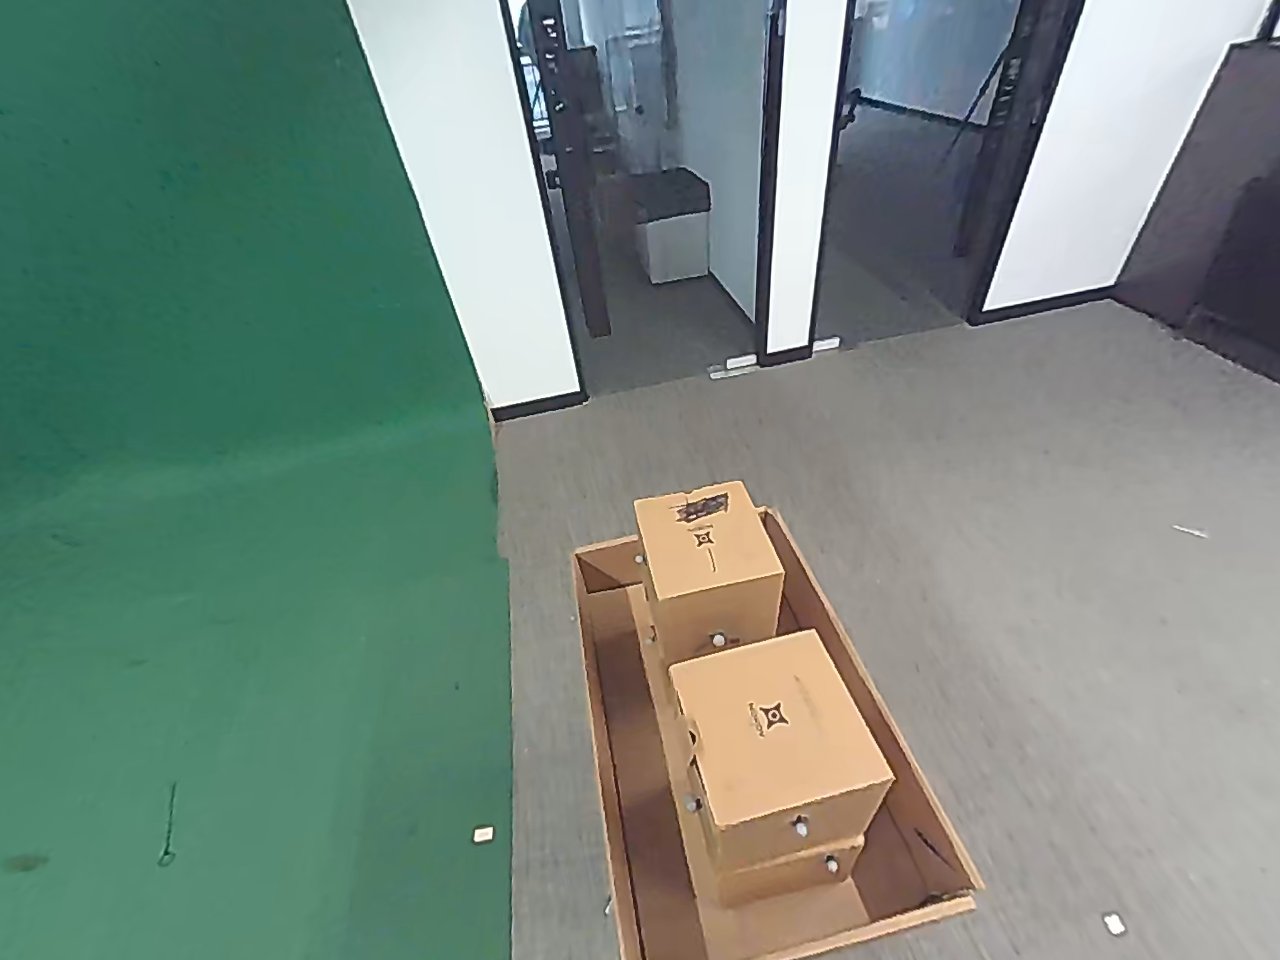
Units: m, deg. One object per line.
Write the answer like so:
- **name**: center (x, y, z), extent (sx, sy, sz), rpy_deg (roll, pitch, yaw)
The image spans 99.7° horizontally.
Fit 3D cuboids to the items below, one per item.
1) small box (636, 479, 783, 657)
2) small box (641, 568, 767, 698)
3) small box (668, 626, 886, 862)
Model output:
- **small box**: center (0.092, 0.128, 0.788), extent (0.168, 0.176, 0.179), rpy_deg (-12, 45, -4)
- **small box**: center (0.108, 0.242, 0.906), extent (0.179, 0.176, 0.168), rpy_deg (-11, 45, -3)
- **small box**: center (0.139, 0.297, 0.606), extent (0.179, 0.176, 0.168), rpy_deg (-12, 43, -6)
